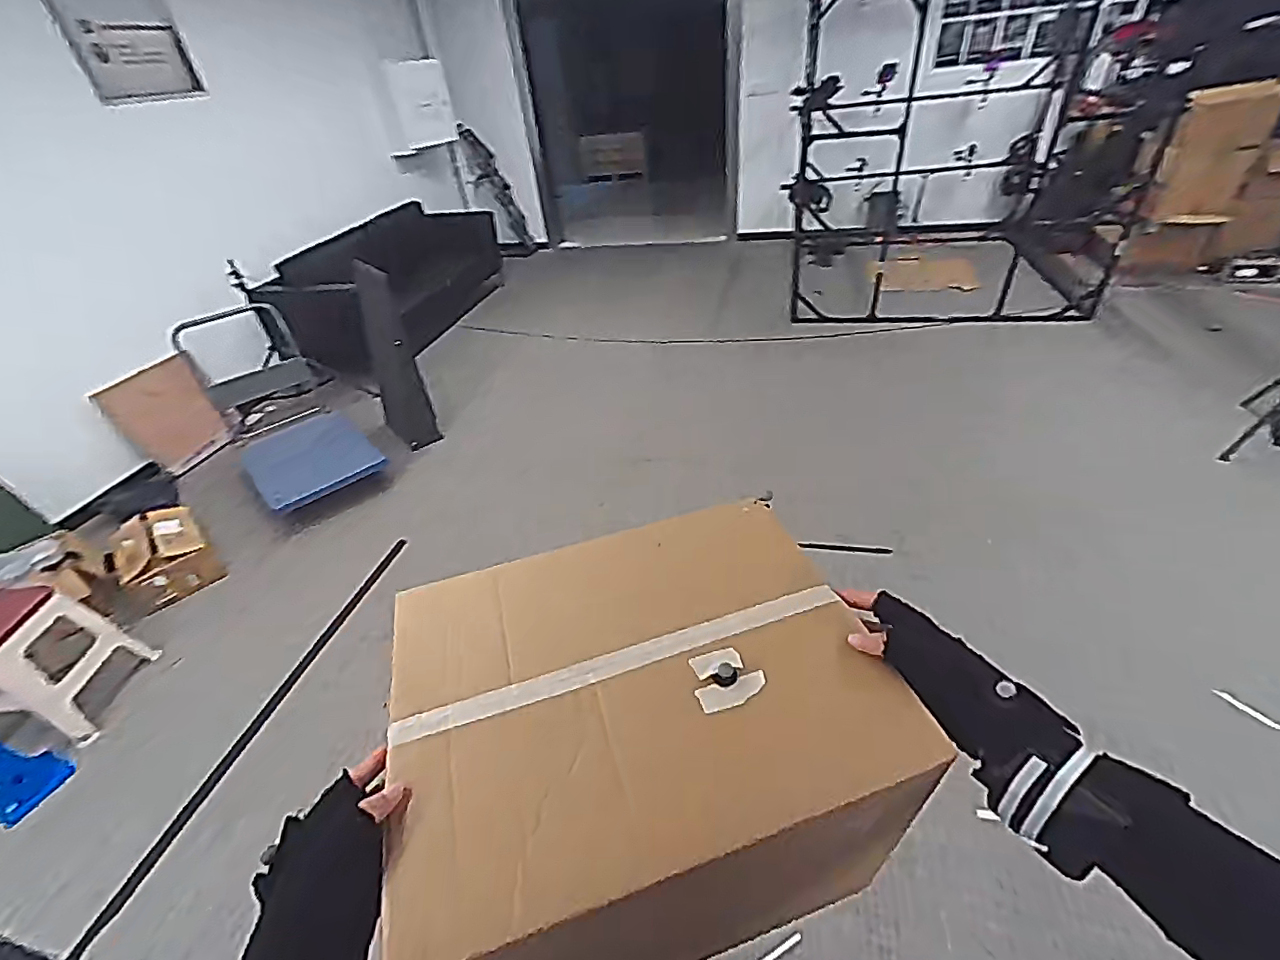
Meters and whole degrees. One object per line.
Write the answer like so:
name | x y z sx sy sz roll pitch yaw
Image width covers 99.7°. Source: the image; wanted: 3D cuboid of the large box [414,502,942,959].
large box | 0.010 0.276 0.578 0.408 0.320 0.320 -14 40 -12
